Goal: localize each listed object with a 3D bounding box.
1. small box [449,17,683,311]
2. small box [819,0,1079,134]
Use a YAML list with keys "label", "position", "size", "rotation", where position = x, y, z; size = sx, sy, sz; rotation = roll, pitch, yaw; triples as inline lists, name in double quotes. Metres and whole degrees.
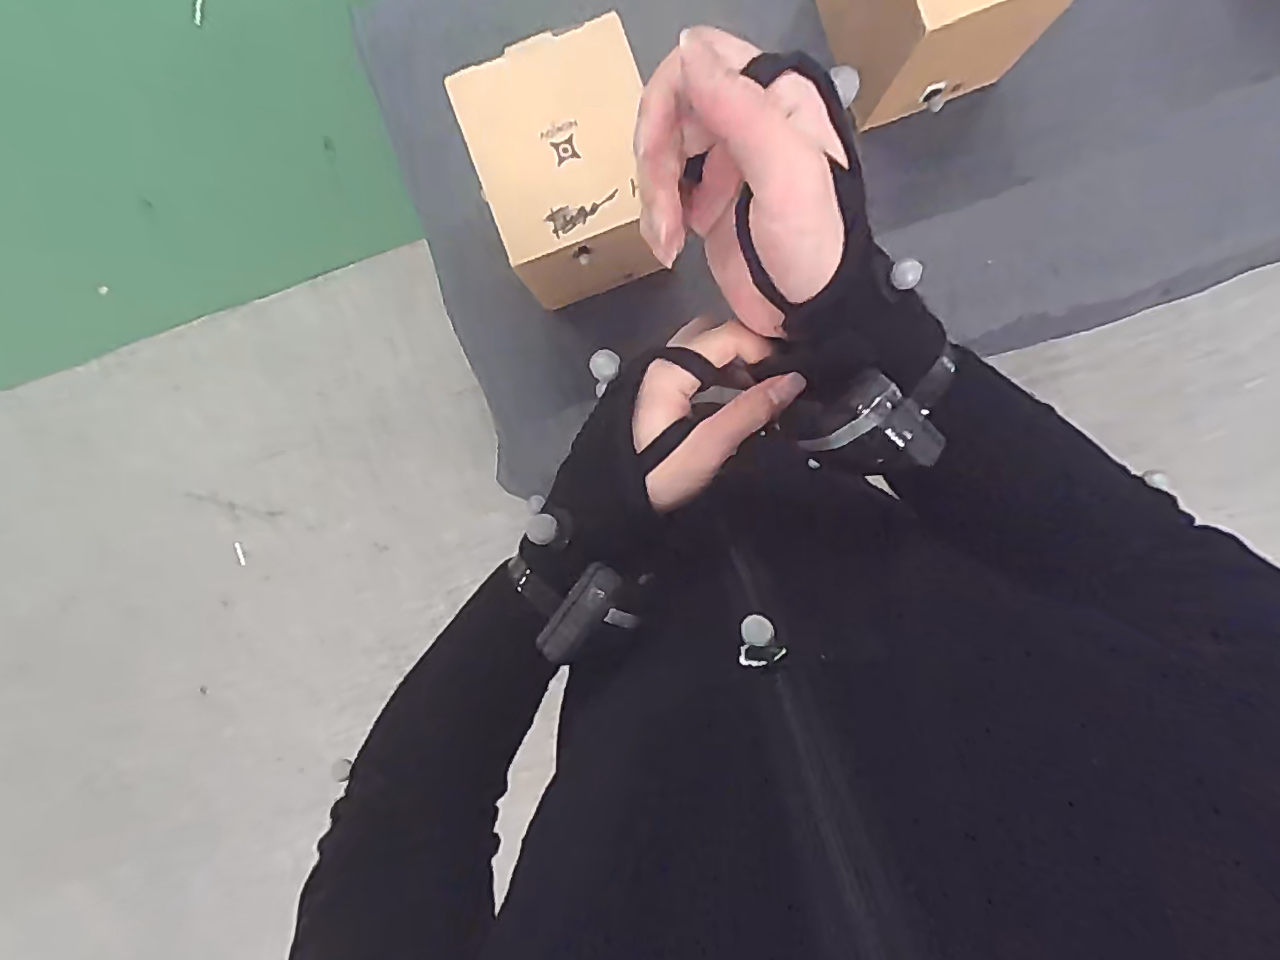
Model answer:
- label: "small box"
  position: [-0.063, -0.299, 0.555]
  size: [0.168, 0.176, 0.179]
  rotation: [-20, 93, 3]
- label: "small box"
  position: [0.296, -0.492, 0.531]
  size: [0.168, 0.176, 0.179]
  rotation: [-20, 95, 4]
